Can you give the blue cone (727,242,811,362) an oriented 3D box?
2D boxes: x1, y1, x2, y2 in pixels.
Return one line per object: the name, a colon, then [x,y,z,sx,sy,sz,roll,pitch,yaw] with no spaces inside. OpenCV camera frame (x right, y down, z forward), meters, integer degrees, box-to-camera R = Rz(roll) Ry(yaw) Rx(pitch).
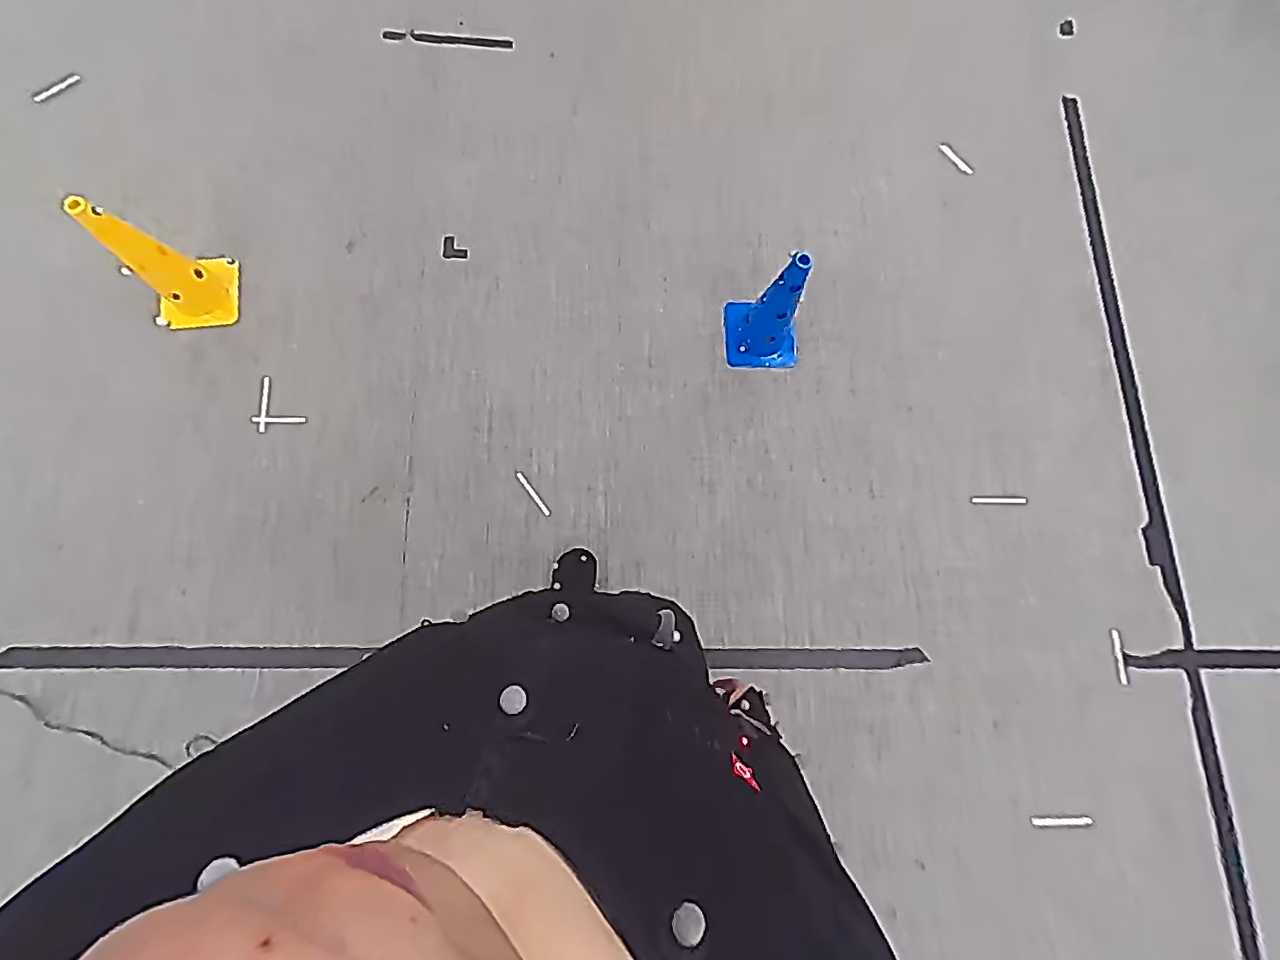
blue cone: [0.349,-0.455,1.358,0.193,0.380,0.192,1,78,-3]
